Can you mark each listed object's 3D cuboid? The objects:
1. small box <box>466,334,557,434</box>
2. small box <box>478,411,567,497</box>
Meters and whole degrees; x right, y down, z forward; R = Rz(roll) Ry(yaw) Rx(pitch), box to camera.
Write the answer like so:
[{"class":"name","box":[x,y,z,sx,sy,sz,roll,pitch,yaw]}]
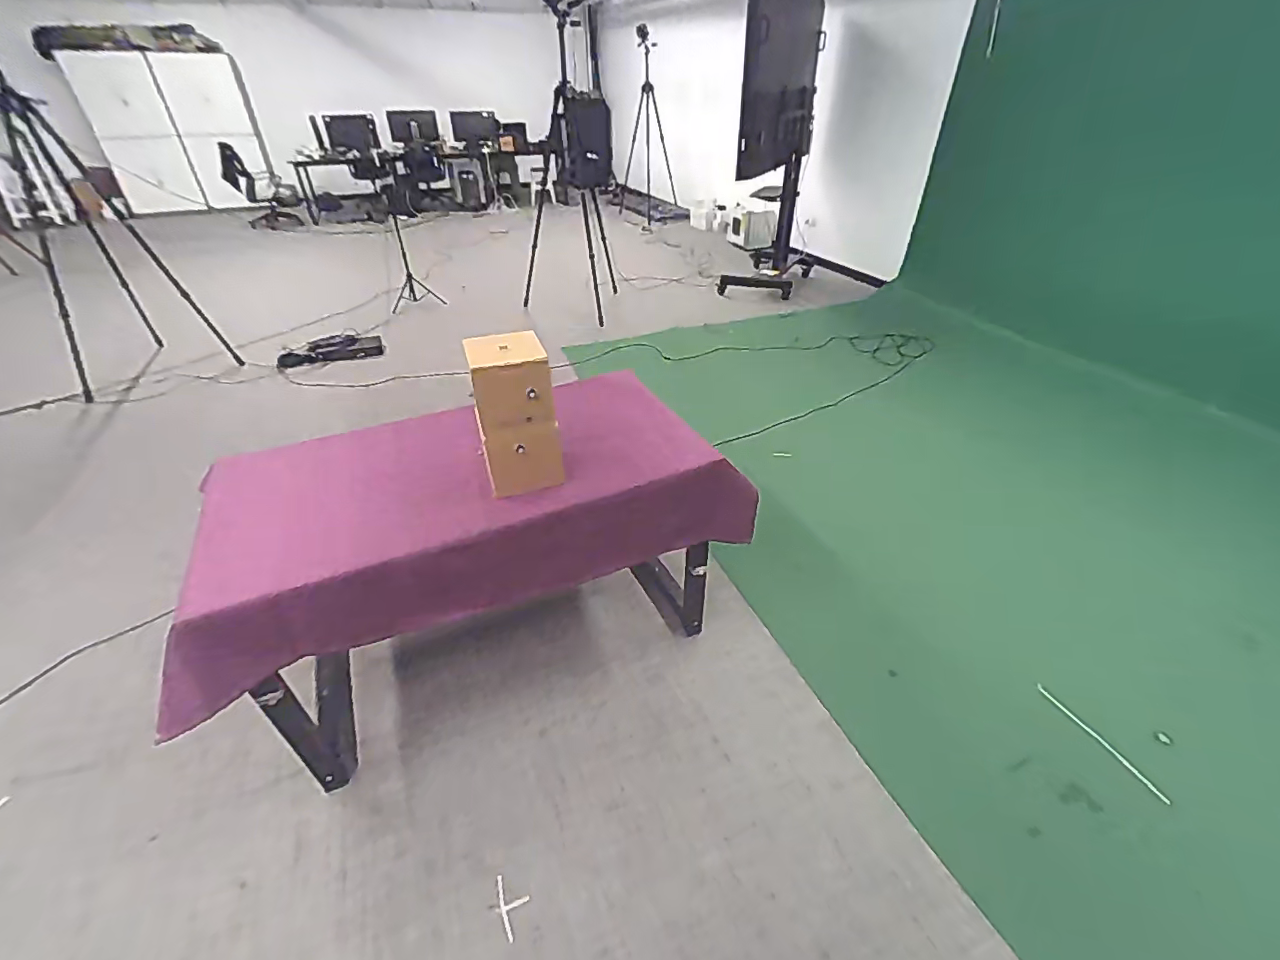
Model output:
[{"class":"small box","box":[-0.294,-0.216,1.243,0.168,0.176,0.179,-12,37,-15]},{"class":"small box","box":[-0.287,-0.079,1.332,0.179,0.176,0.168,-13,38,-15]}]
